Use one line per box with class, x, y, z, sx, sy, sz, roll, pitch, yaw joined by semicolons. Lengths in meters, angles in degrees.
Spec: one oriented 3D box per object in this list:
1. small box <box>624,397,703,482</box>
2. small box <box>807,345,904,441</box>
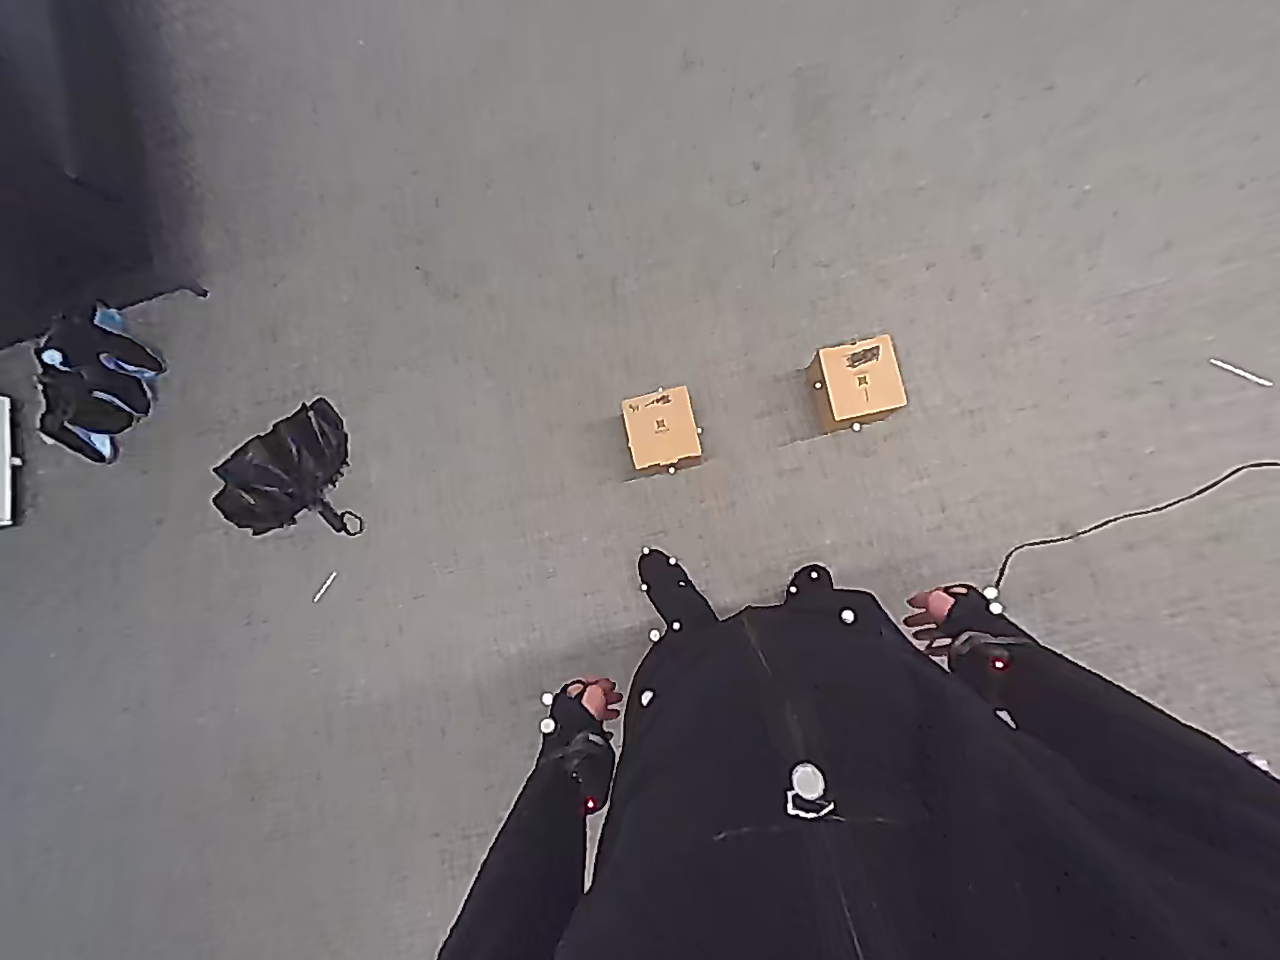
small box;0.065;-0.095;1.390;0.168;0.176;0.179;-13;82;6
small box;0.525;-0.209;1.344;0.168;0.176;0.179;-13;83;7
